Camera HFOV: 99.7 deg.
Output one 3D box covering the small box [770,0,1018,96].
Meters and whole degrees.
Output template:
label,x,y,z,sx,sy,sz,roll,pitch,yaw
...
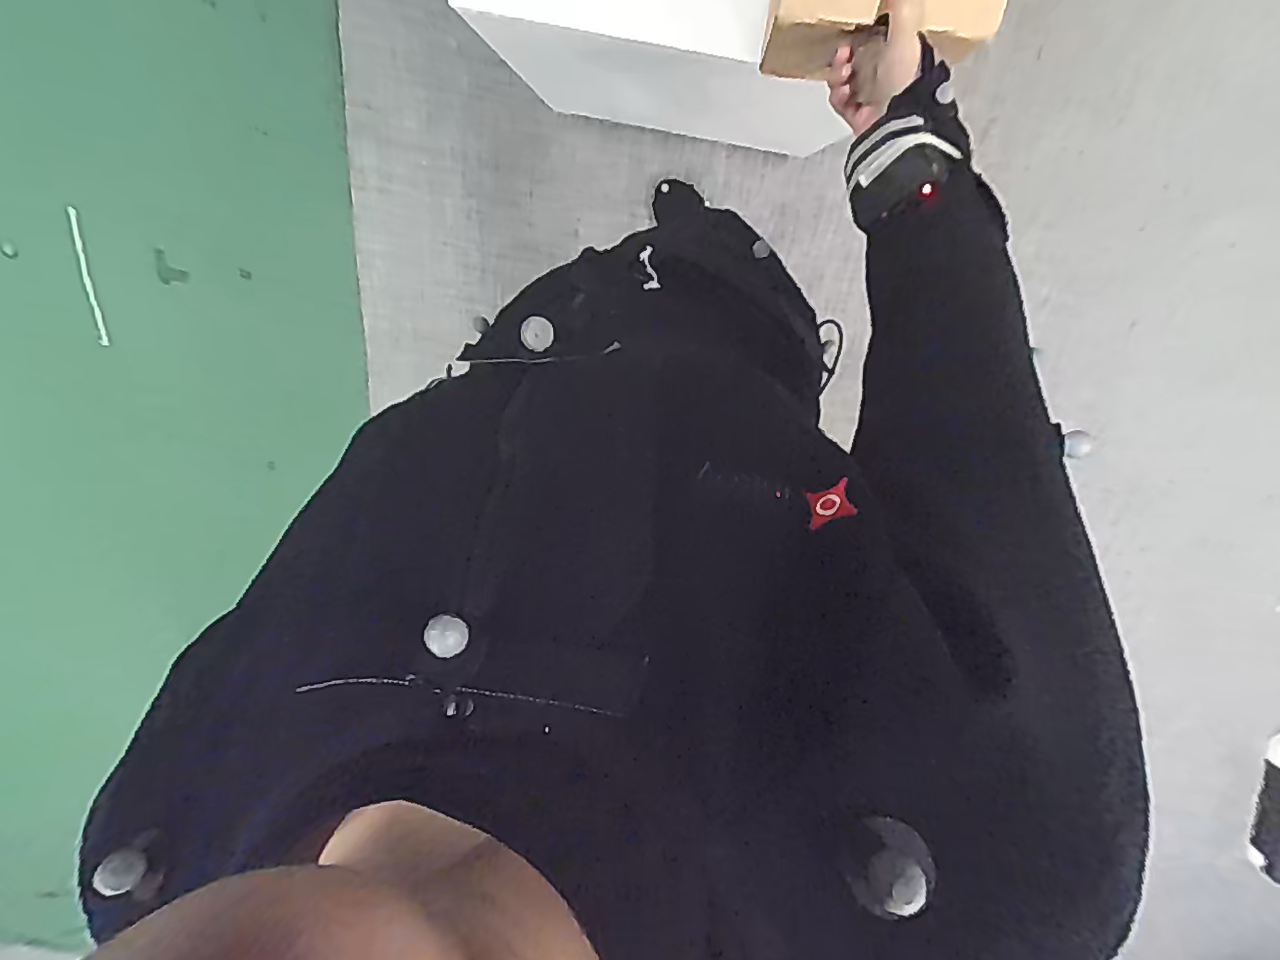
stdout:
label,x,y,z,sx,sy,sz,roll,pitch,yaw
small box,0.209,-0.447,0.444,0.168,0.176,0.179,8,115,4
